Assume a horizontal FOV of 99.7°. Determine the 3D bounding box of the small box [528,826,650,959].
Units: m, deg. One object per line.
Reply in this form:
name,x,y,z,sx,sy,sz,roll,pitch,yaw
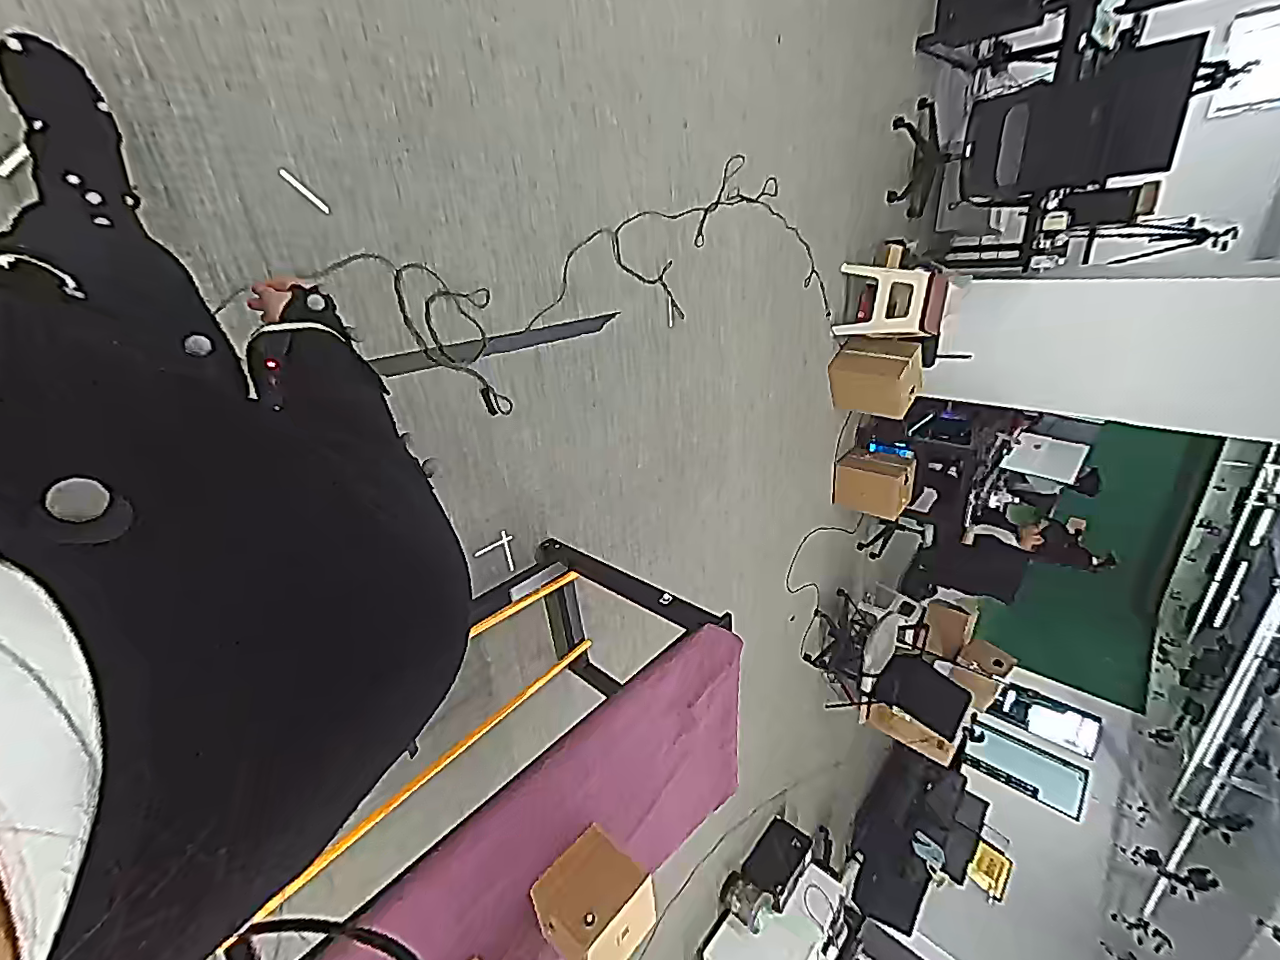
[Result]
small box,-0.100,0.857,1.093,0.179,0.176,0.168,-27,123,-40
